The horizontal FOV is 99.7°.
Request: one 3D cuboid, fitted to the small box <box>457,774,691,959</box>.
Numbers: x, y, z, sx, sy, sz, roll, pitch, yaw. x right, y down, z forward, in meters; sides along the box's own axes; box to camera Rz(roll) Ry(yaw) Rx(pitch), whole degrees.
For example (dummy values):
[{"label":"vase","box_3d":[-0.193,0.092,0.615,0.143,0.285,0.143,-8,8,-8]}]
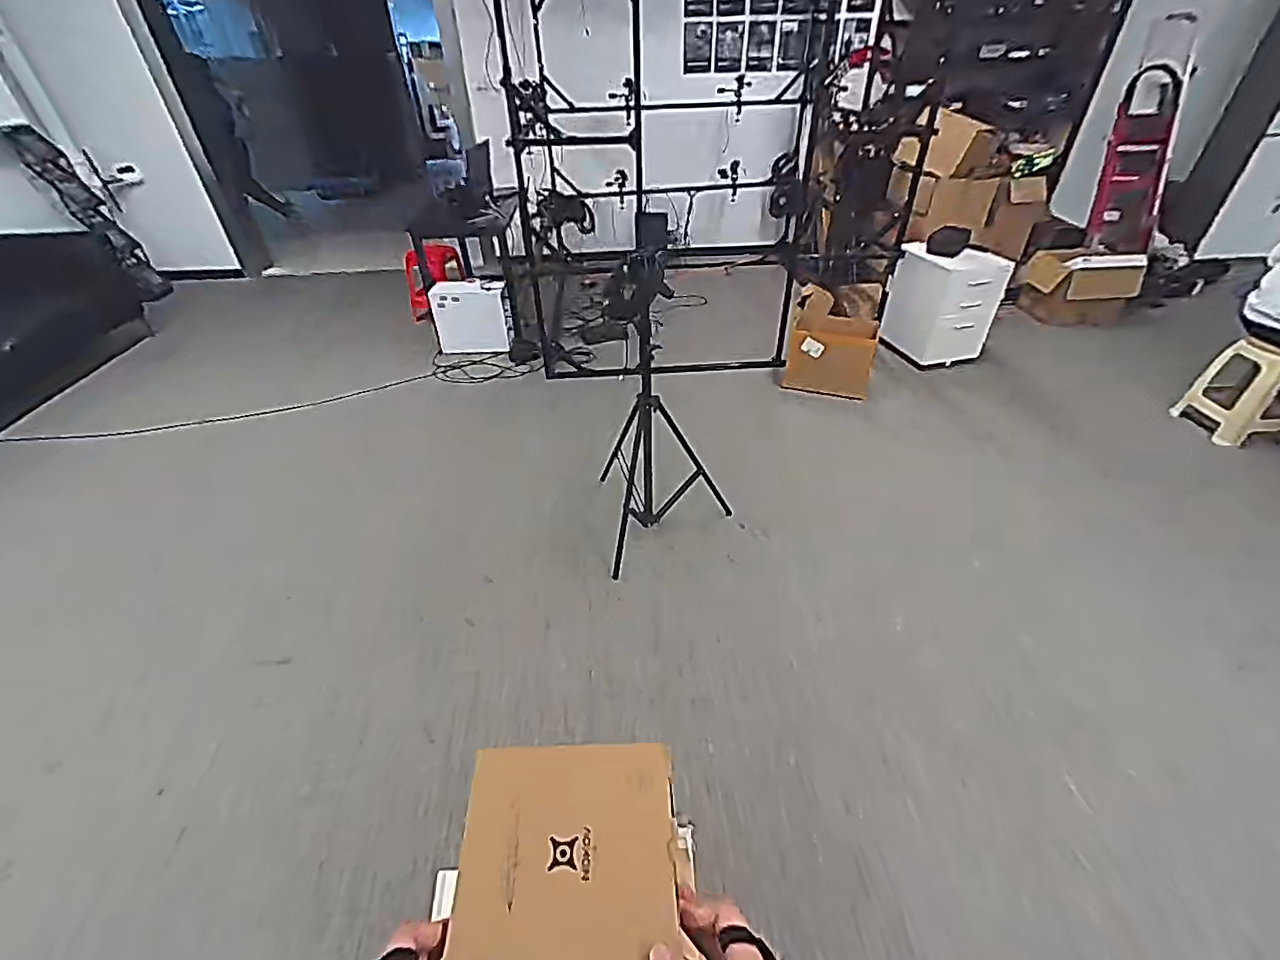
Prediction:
[{"label":"small box","box_3d":[-0.049,0.381,0.487,0.179,0.176,0.168,-4,45,0]}]
